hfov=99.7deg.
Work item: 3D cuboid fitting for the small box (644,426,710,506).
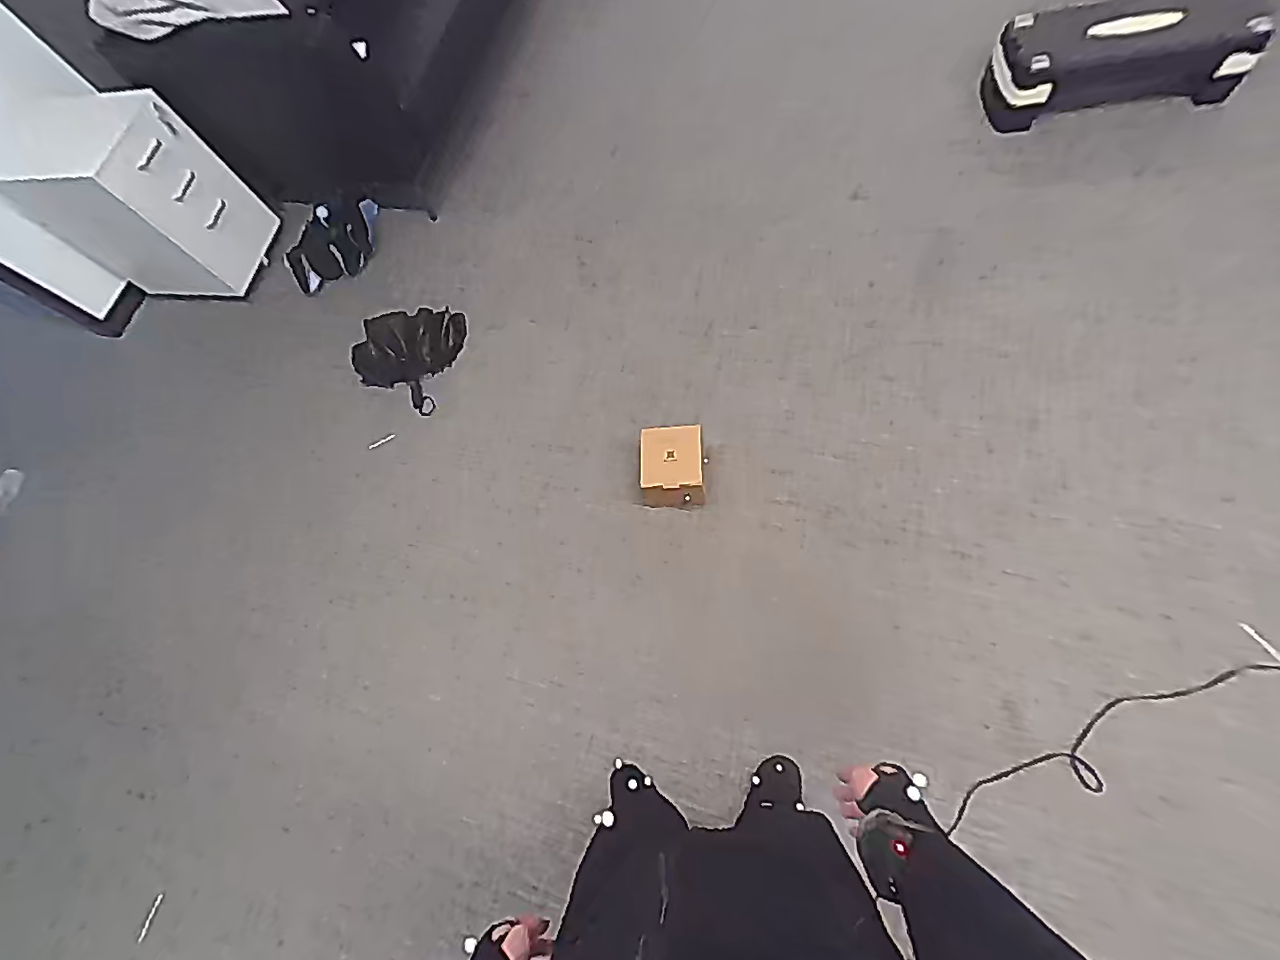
[{"bbox_3d":[0.106,-0.032,1.517,0.168,0.176,0.179,-4,67,10],"label":"small box"}]
